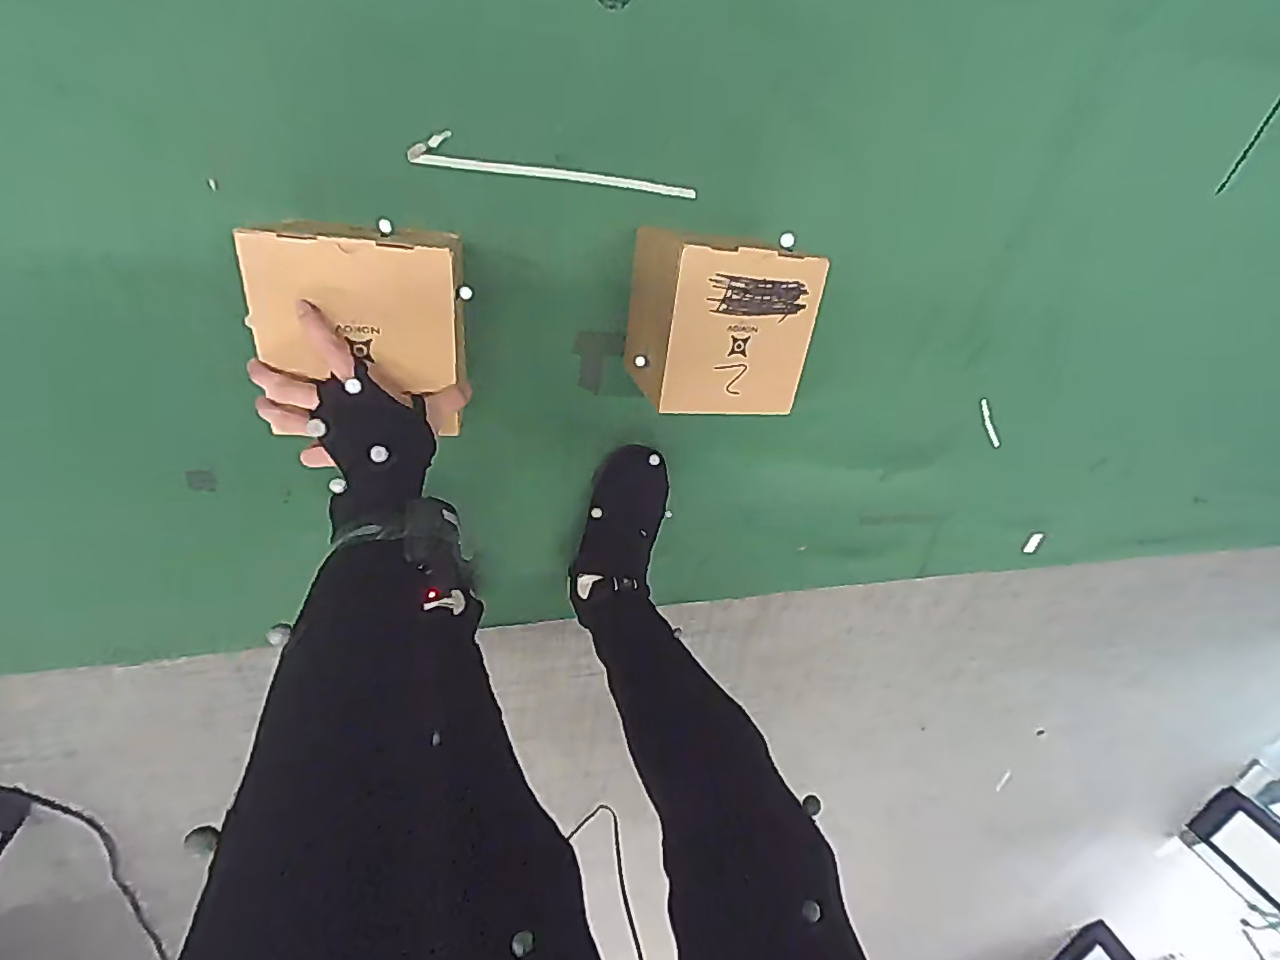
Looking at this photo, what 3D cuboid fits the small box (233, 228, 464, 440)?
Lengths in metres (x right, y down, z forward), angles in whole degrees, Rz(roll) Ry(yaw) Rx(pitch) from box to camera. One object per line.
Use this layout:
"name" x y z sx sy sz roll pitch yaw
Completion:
"small box" -0.271 -0.152 0.551 0.168 0.176 0.179 -1 115 -15
